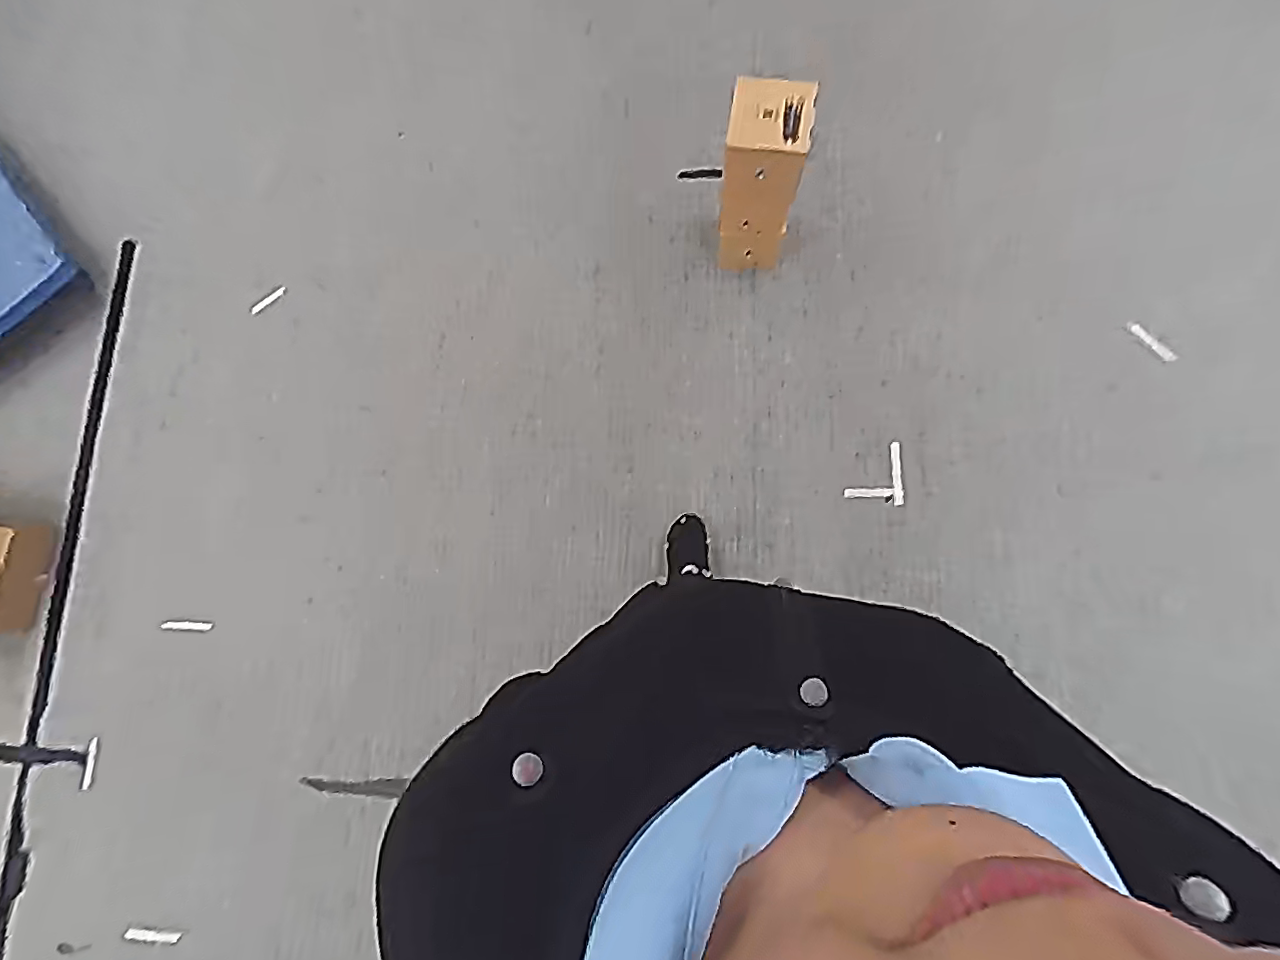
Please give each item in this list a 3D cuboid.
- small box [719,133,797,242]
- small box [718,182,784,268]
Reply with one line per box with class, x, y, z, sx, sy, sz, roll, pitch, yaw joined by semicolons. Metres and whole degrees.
small box;0.296;-0.743;1.384;0.168;0.176;0.179;6;82;5
small box;0.314;-0.723;1.545;0.168;0.176;0.179;0;80;4
